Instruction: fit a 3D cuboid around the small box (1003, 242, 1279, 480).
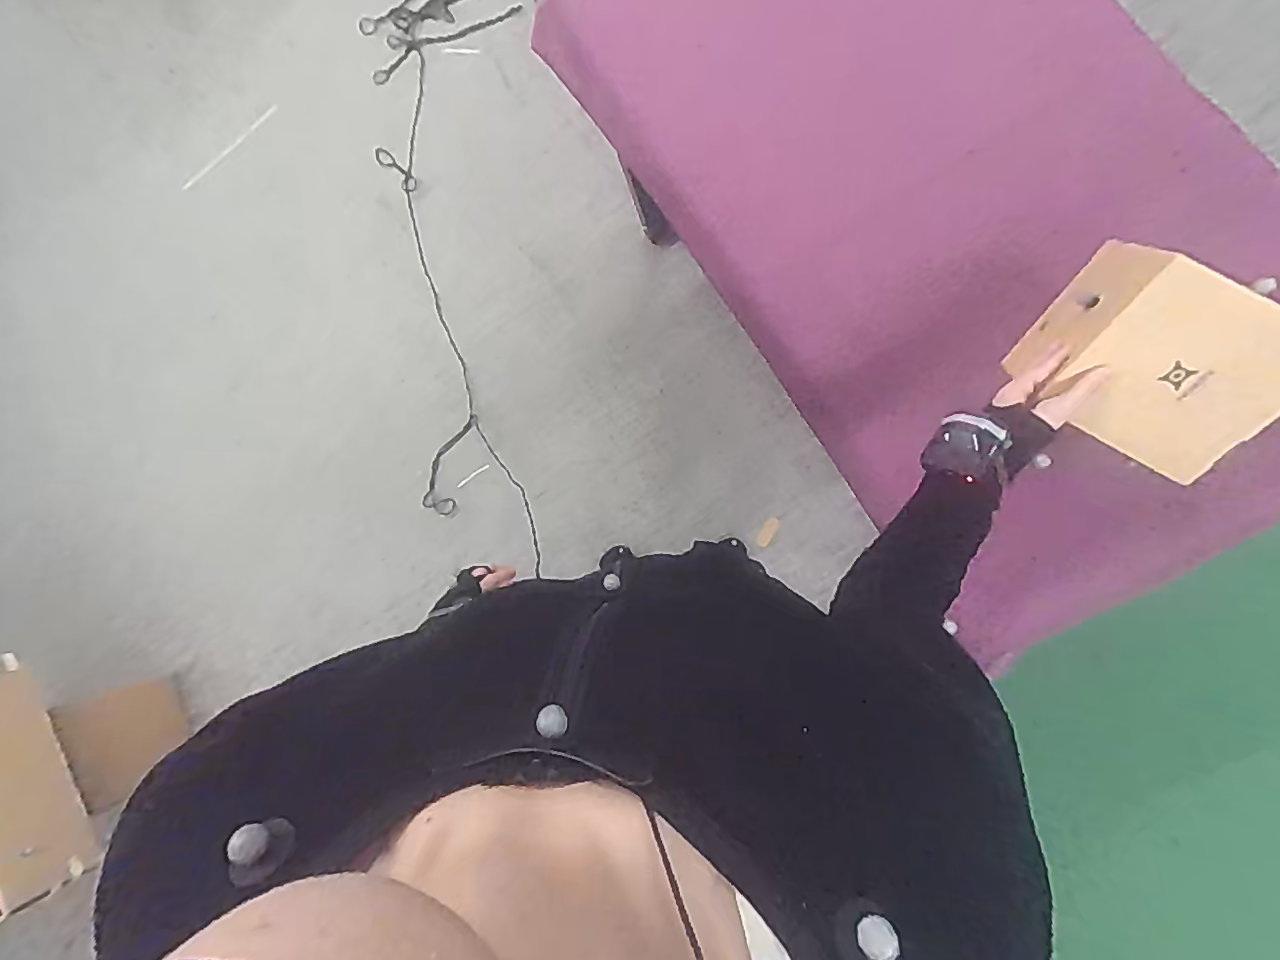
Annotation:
[{"bbox_3d":[0.536,-0.136,0.577,0.179,0.176,0.168,29,124,2],"label":"small box"}]
